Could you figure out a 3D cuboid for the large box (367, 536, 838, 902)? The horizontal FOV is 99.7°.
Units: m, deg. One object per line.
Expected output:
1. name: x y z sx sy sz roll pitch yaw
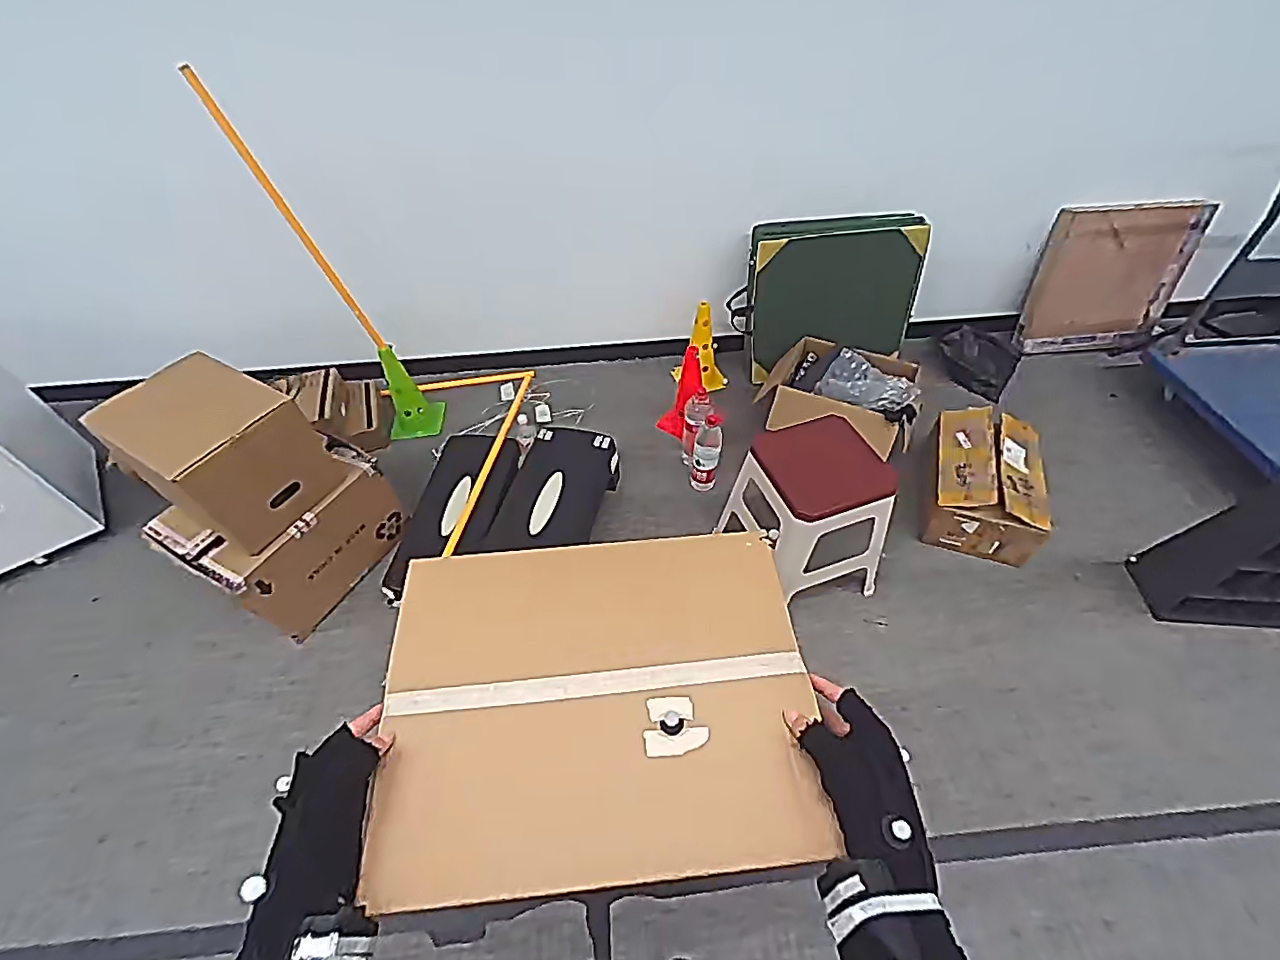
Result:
1. large box: -0.042 0.293 0.655 0.408 0.320 0.320 -4 53 -3
